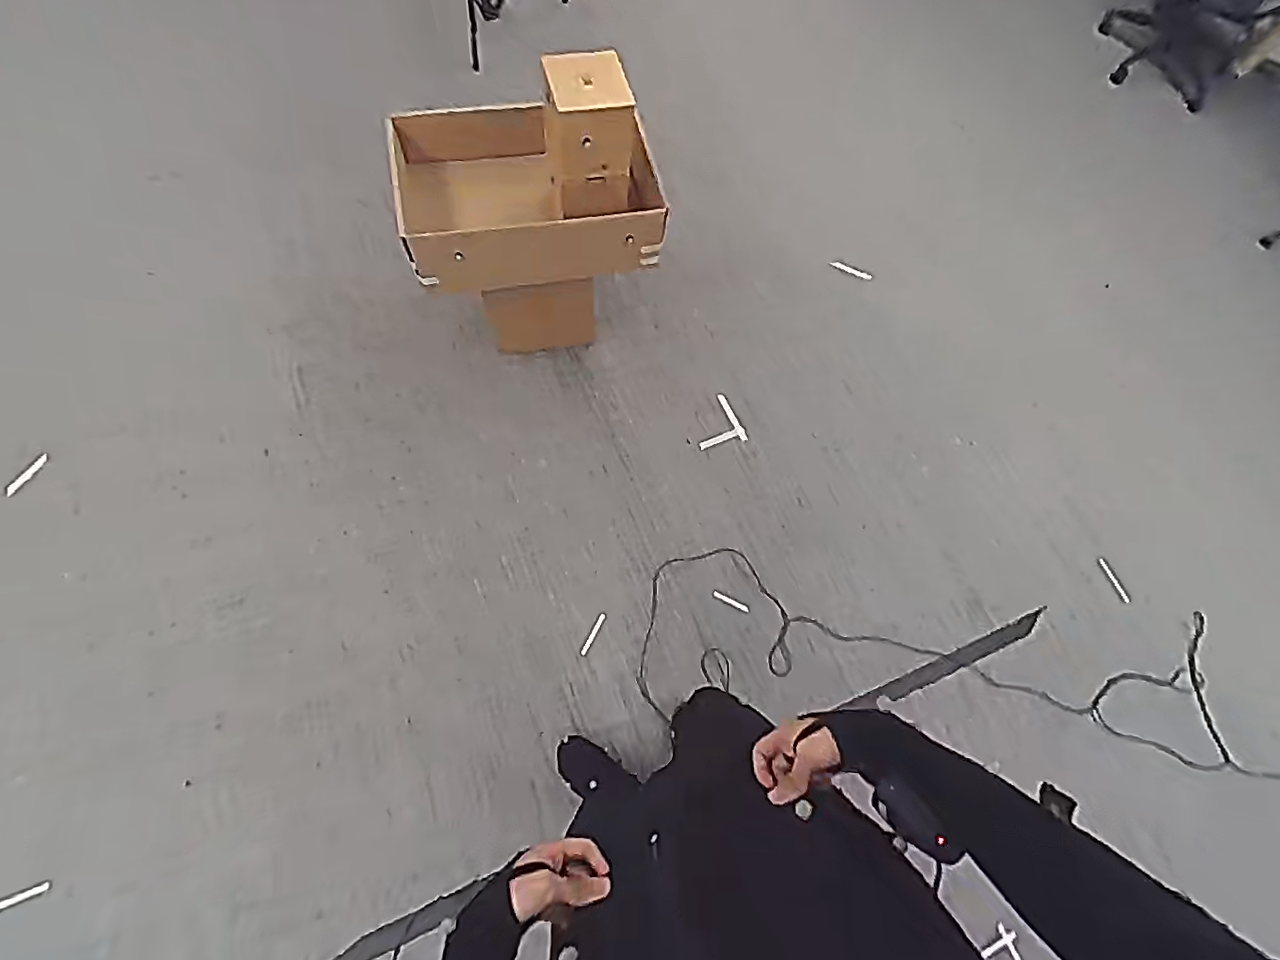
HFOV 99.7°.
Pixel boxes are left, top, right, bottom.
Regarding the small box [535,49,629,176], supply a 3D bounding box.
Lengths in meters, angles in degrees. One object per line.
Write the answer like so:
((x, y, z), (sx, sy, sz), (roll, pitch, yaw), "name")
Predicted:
((-0.128, -0.804, 1.199), (0.168, 0.176, 0.179), (-13, 71, -11), "small box")

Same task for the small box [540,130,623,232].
((-0.144, -0.746, 1.349), (0.168, 0.176, 0.179), (-14, 71, -11), "small box")
